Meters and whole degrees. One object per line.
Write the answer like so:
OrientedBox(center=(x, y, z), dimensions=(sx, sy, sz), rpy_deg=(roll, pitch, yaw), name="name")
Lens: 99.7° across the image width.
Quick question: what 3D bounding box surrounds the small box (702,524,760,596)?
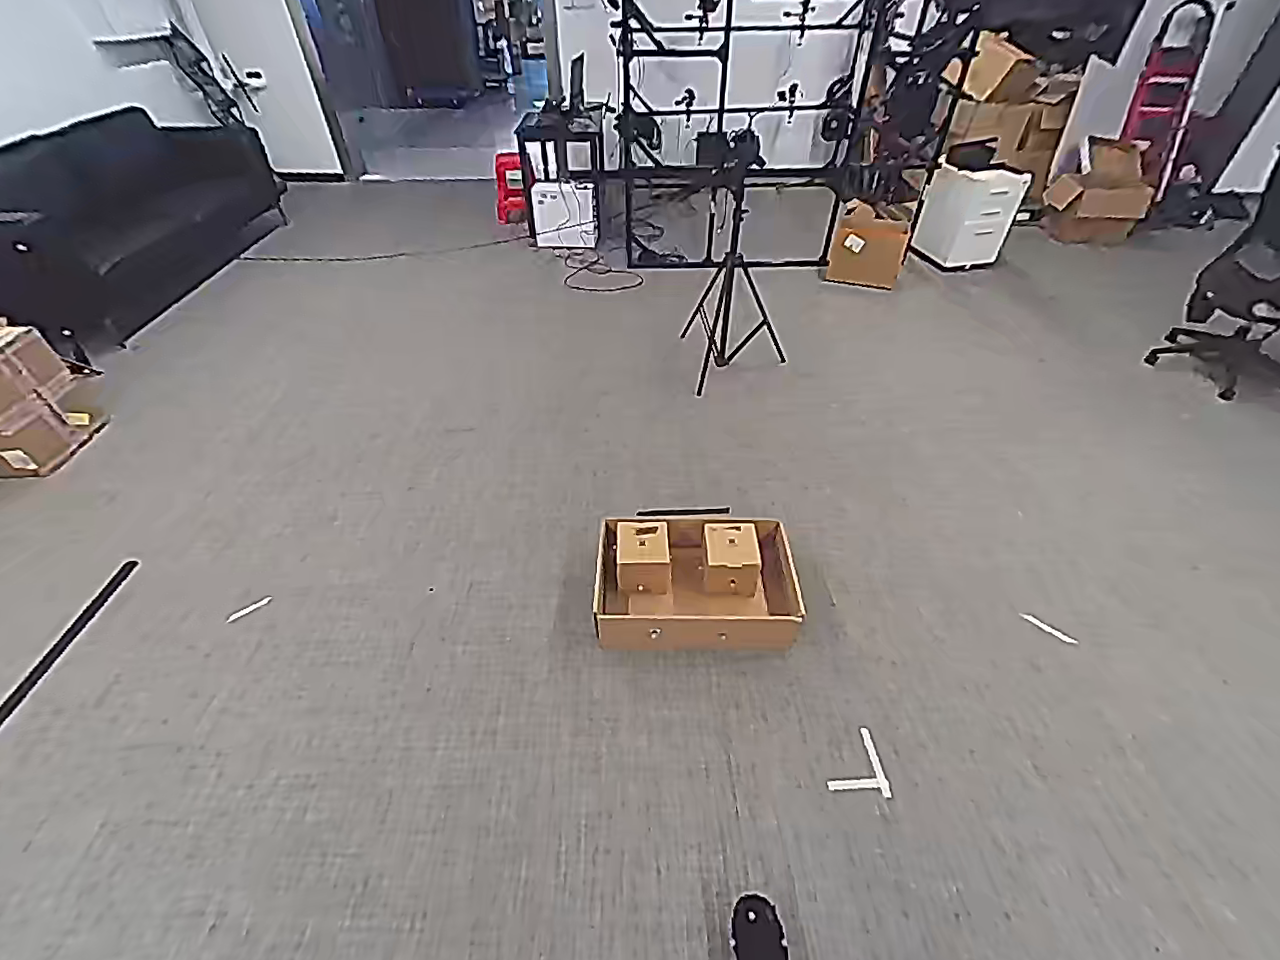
OrientedBox(center=(0.294, 0.265, 1.773), dimensions=(0.168, 0.176, 0.179), rpy_deg=(0, 44, 1), name="small box")
